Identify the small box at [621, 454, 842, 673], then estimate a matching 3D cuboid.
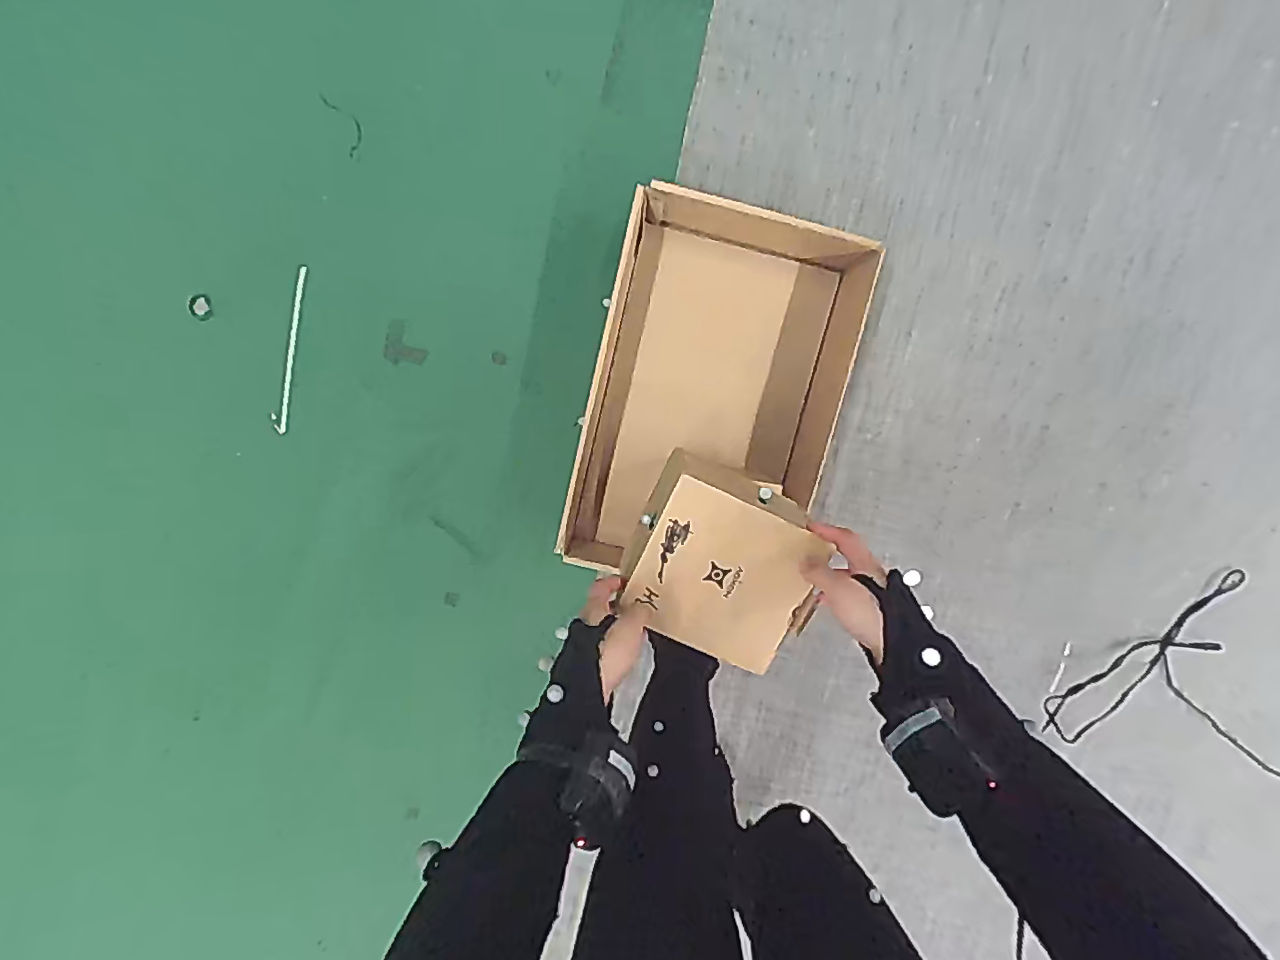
[{"bbox_3d":[0.091,0.082,0.623,0.179,0.176,0.168,24,101,-5],"label":"small box"}]
